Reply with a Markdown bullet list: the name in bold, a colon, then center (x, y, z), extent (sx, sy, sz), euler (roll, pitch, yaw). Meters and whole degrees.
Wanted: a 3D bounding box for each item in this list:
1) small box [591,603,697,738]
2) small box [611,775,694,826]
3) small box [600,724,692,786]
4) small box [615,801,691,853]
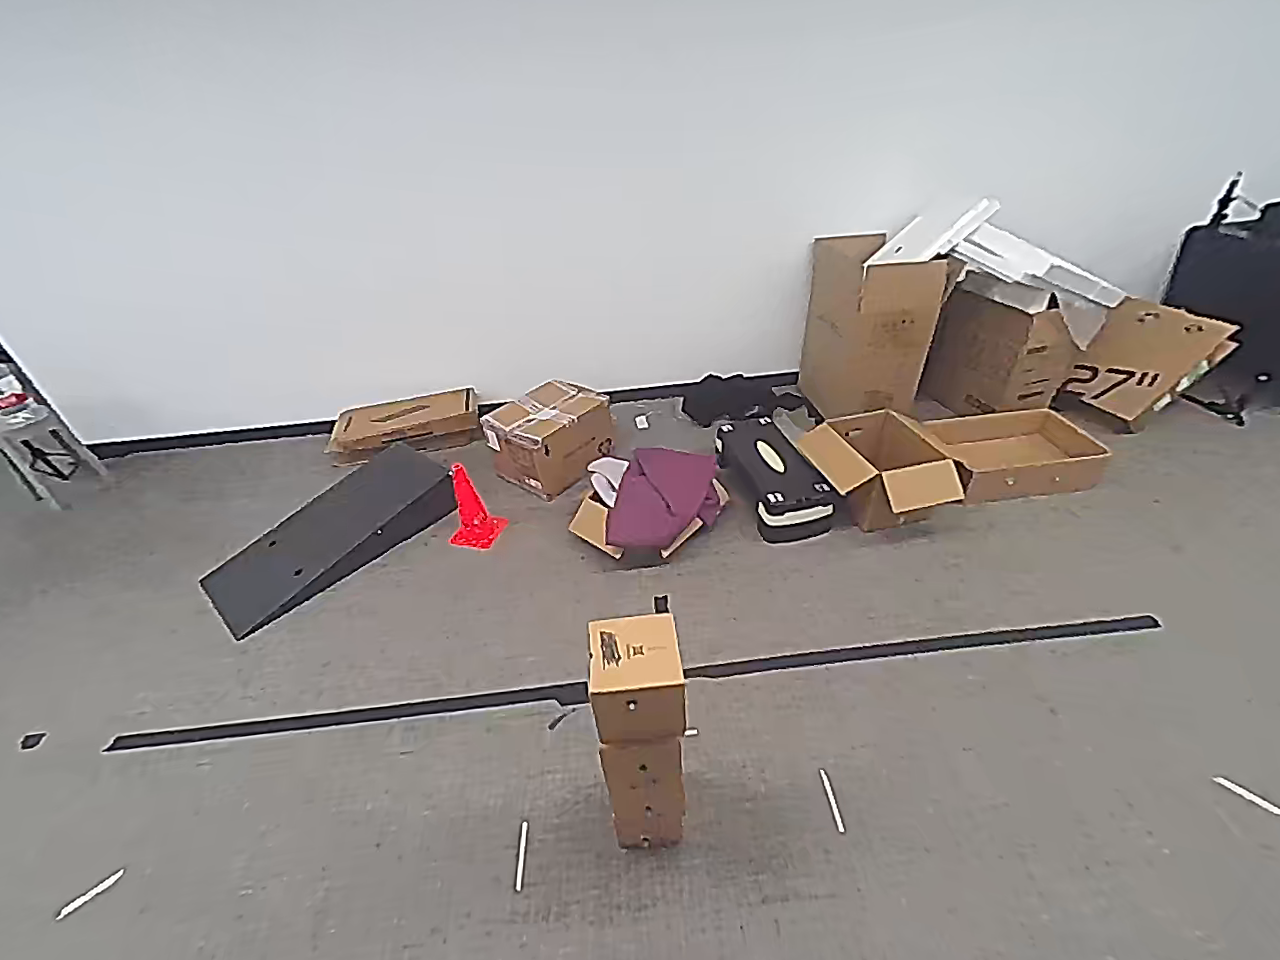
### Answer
- **small box**: center (0.007, 0.354, 1.000), extent (0.179, 0.176, 0.168), euler (-6, 36, -2)
- **small box**: center (0.025, 0.625, 1.187), extent (0.168, 0.176, 0.179), euler (-7, 36, 0)
- **small box**: center (0.012, 0.494, 1.089), extent (0.168, 0.176, 0.179), euler (-6, 36, 0)
- **small box**: center (0.029, 0.753, 1.291), extent (0.168, 0.176, 0.179), euler (-7, 37, -1)
